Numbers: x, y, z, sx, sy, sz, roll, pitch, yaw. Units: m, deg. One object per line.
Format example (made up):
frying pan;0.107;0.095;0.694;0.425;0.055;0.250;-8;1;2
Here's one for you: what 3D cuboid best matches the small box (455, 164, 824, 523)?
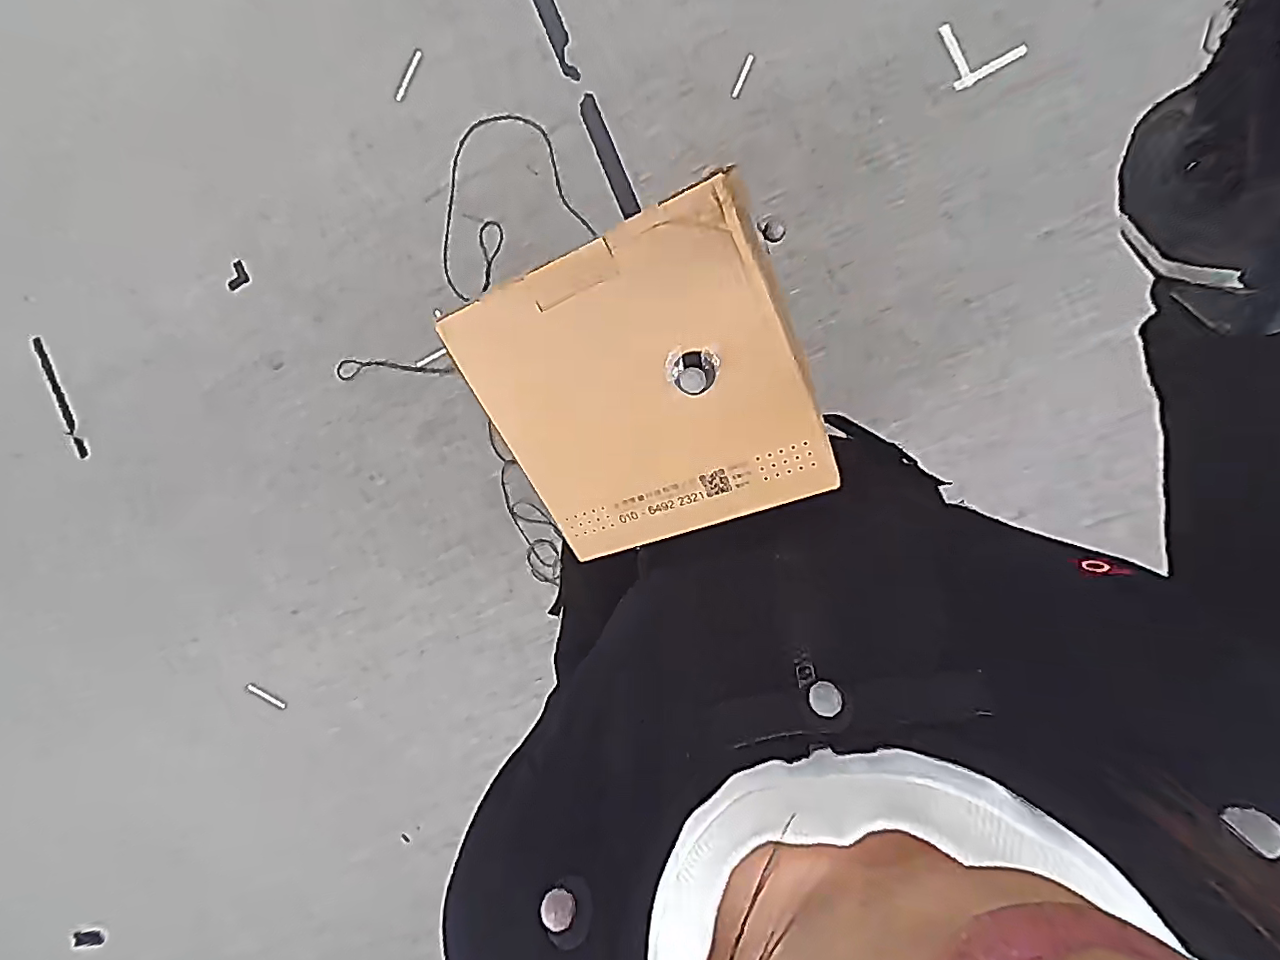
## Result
small box;0.018;-0.087;0.372;0.168;0.179;0.176;-18;115;22
